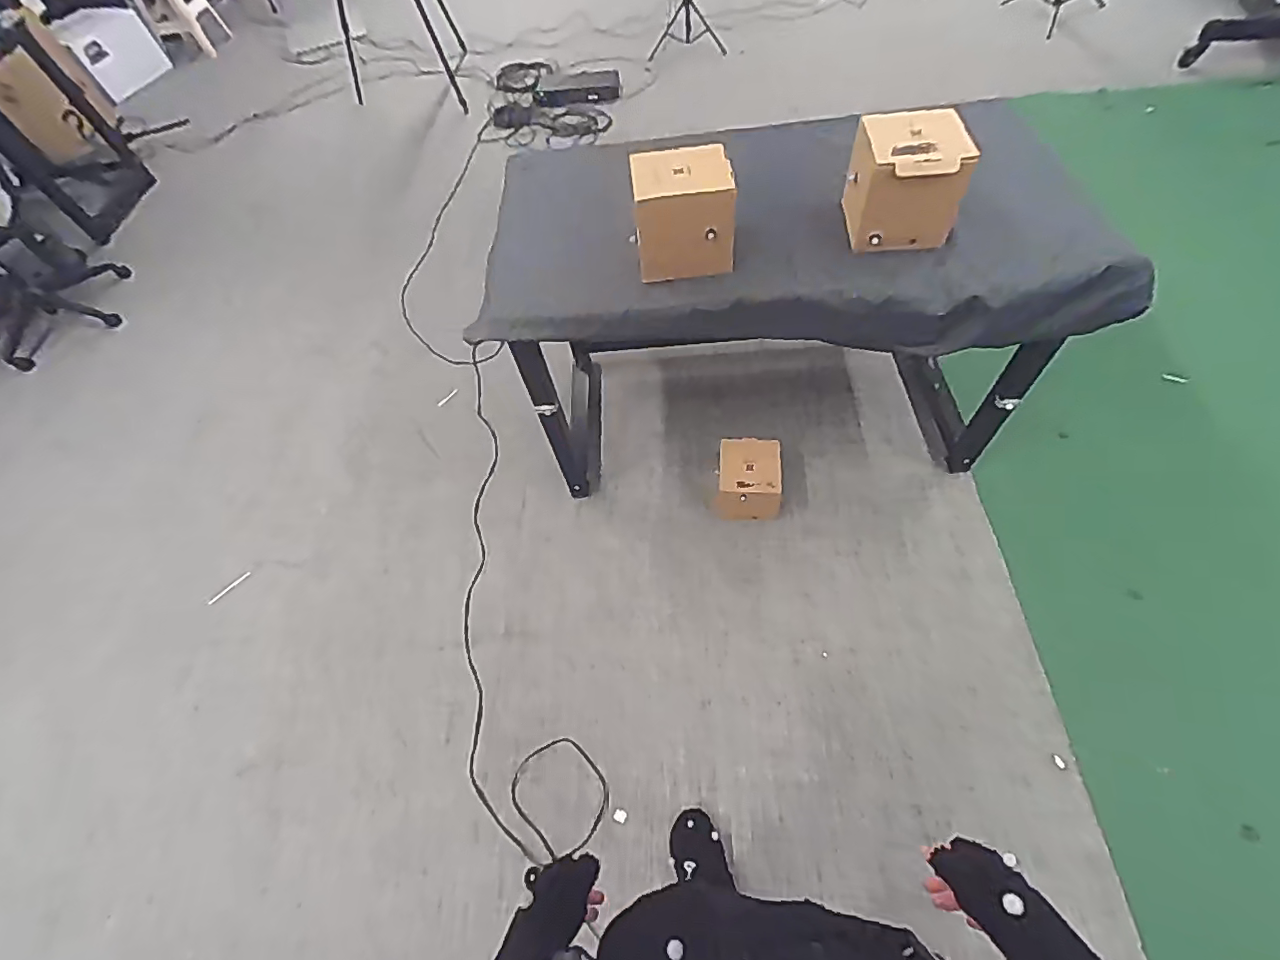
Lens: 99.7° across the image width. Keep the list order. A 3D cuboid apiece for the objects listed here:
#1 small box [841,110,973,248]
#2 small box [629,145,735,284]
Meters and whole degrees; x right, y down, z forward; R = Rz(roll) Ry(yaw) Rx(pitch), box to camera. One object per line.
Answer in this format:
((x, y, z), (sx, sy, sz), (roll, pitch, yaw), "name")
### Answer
((0.486, -0.554, 1.013), (0.168, 0.176, 0.179), (0, 58, 7), "small box")
((0.078, -0.500, 1.029), (0.179, 0.176, 0.168), (-7, 55, 3), "small box")
